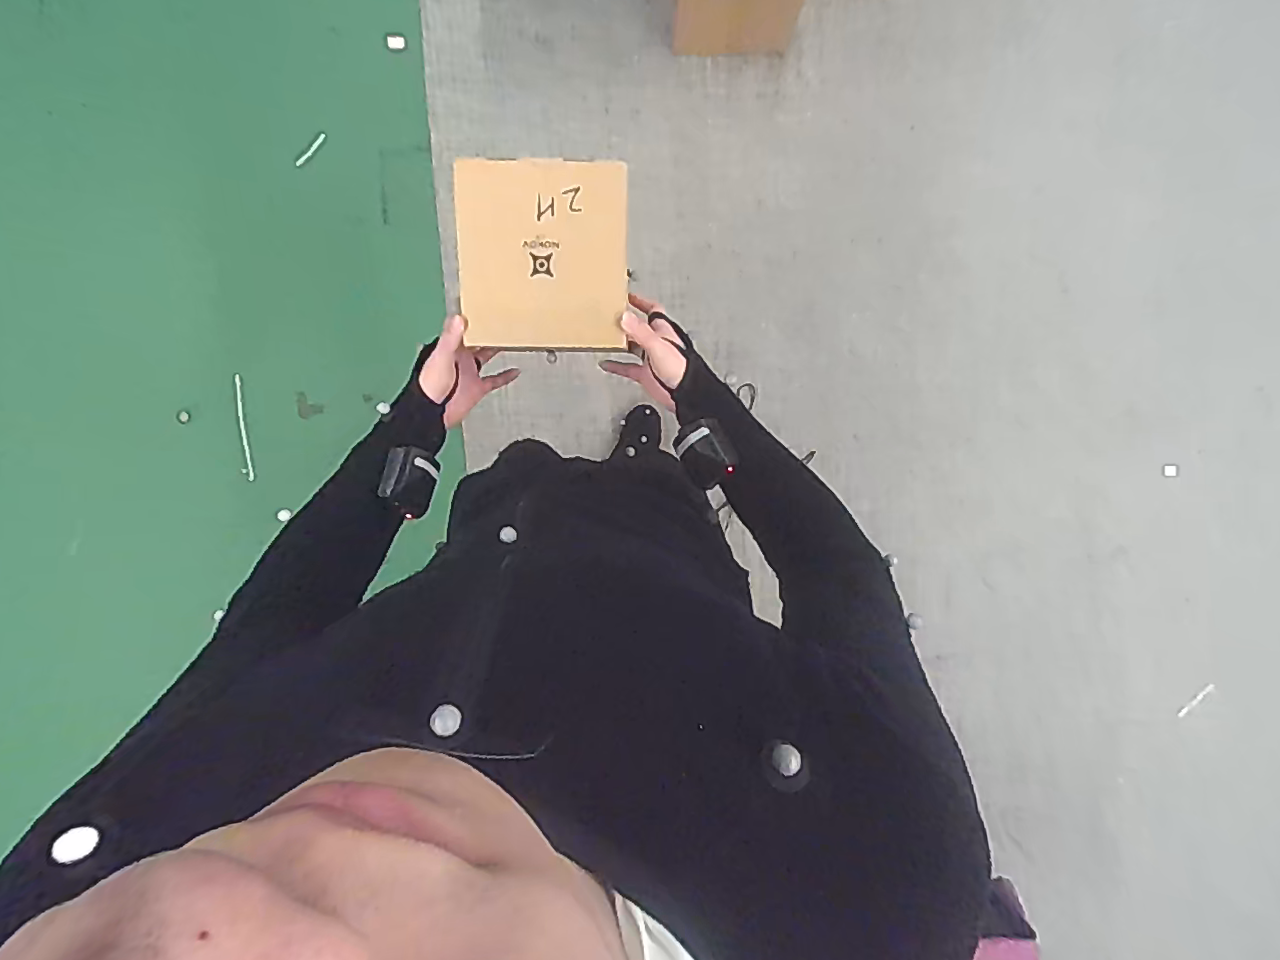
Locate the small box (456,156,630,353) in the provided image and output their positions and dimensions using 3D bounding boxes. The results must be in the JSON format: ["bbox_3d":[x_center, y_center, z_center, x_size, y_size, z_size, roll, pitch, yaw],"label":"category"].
[{"bbox_3d":[-0.096,-0.235,0.607,0.168,0.176,0.179,1,101,-1],"label":"small box"}]
